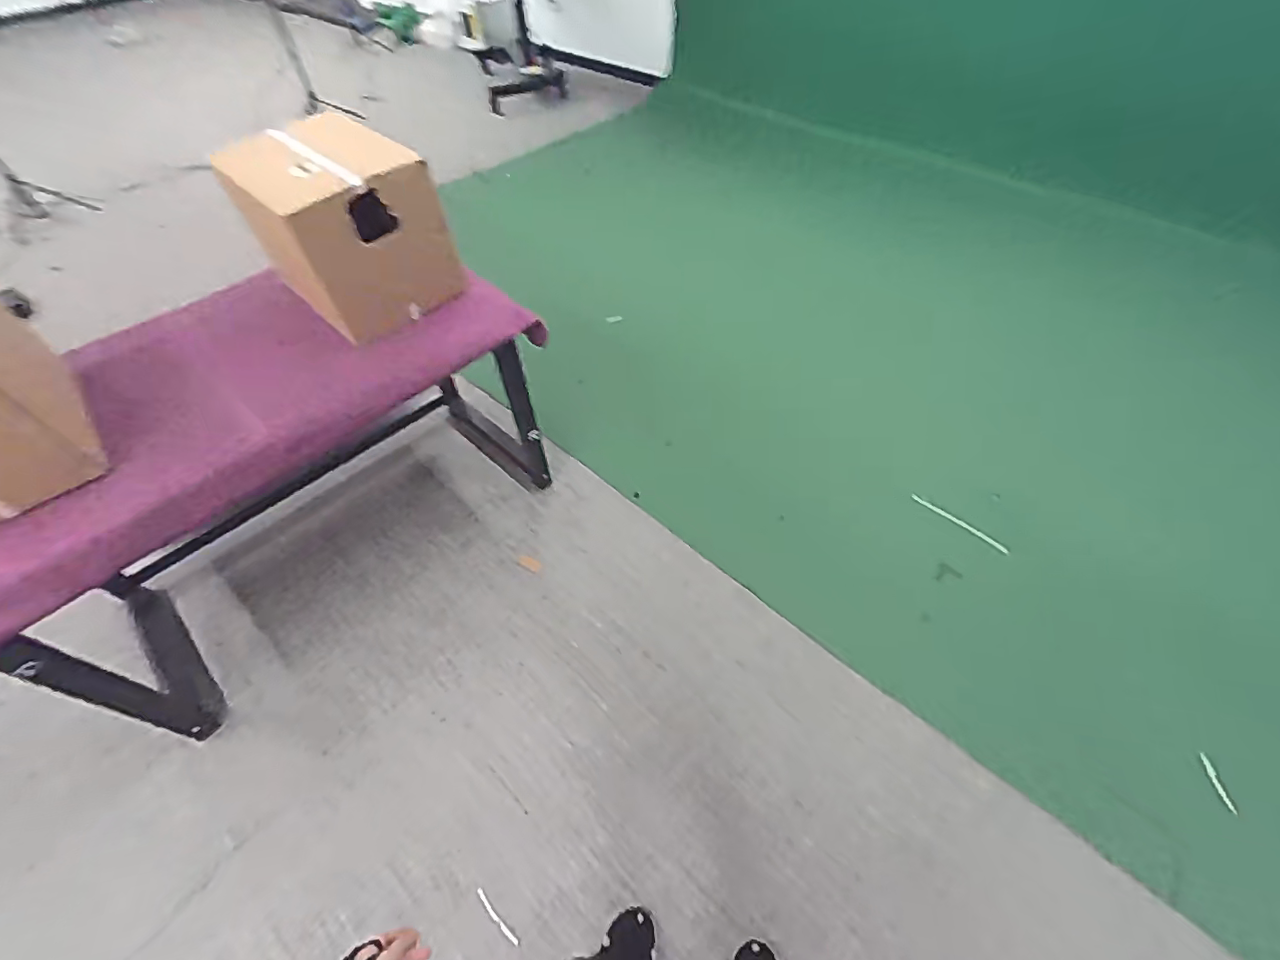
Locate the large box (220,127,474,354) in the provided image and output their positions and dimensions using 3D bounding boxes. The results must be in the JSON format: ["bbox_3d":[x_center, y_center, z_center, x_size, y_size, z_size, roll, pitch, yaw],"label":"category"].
[{"bbox_3d":[-0.666,-0.567,1.273,0.408,0.320,0.320,37,63,26],"label":"large box"}]
